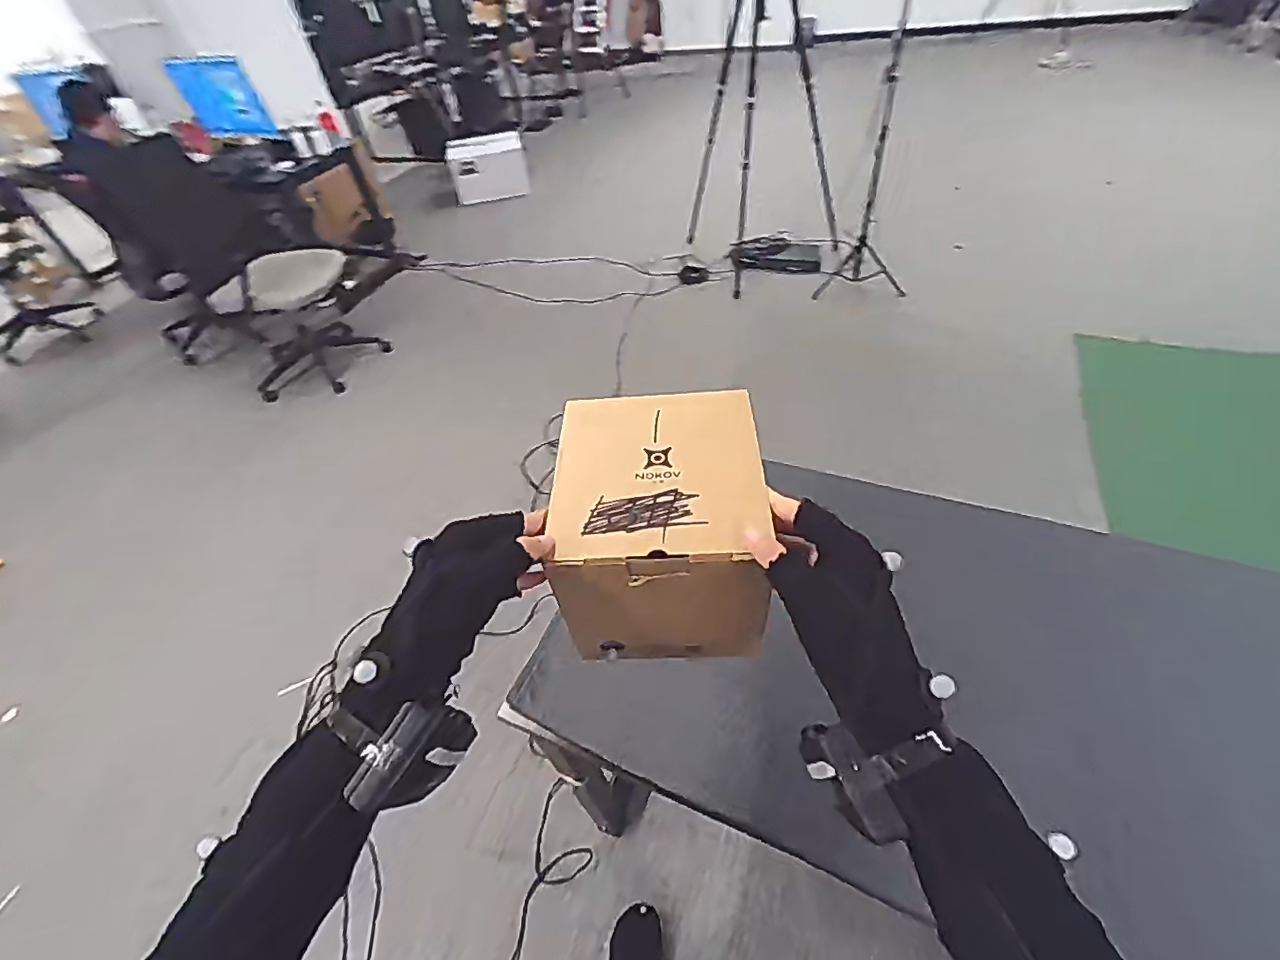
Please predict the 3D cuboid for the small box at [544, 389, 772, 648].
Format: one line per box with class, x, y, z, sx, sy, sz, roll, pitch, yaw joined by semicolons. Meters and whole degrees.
small box;0.022;0.041;0.491;0.168;0.176;0.179;-2;49;5
